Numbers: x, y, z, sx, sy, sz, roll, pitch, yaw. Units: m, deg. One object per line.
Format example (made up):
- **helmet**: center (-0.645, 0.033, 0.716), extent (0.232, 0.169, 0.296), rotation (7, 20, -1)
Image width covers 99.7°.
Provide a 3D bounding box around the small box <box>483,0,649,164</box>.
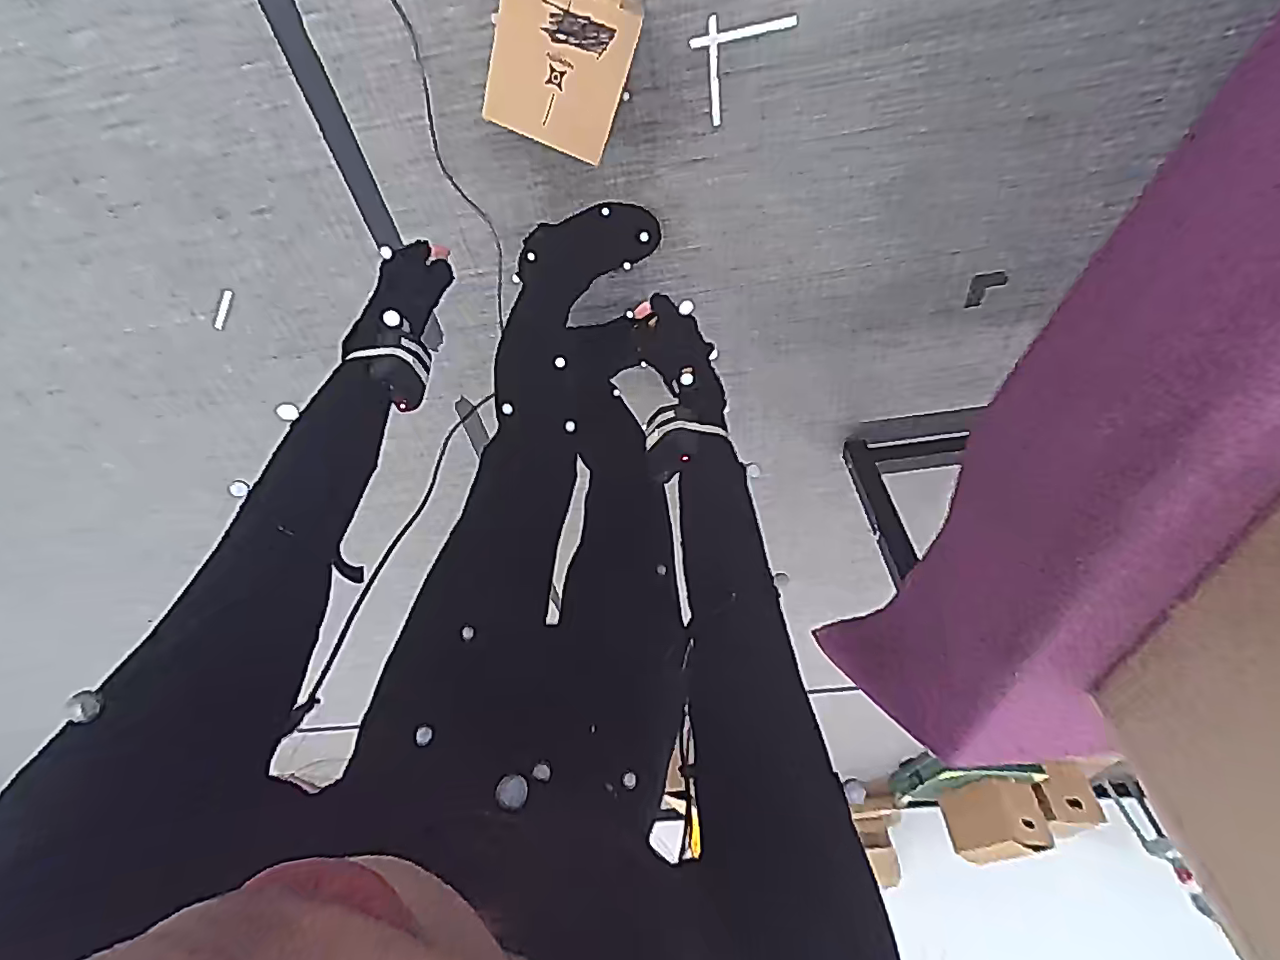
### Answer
- **small box**: center (-0.099, -0.571, 0.725), extent (0.168, 0.176, 0.179), rotation (16, 134, -16)
